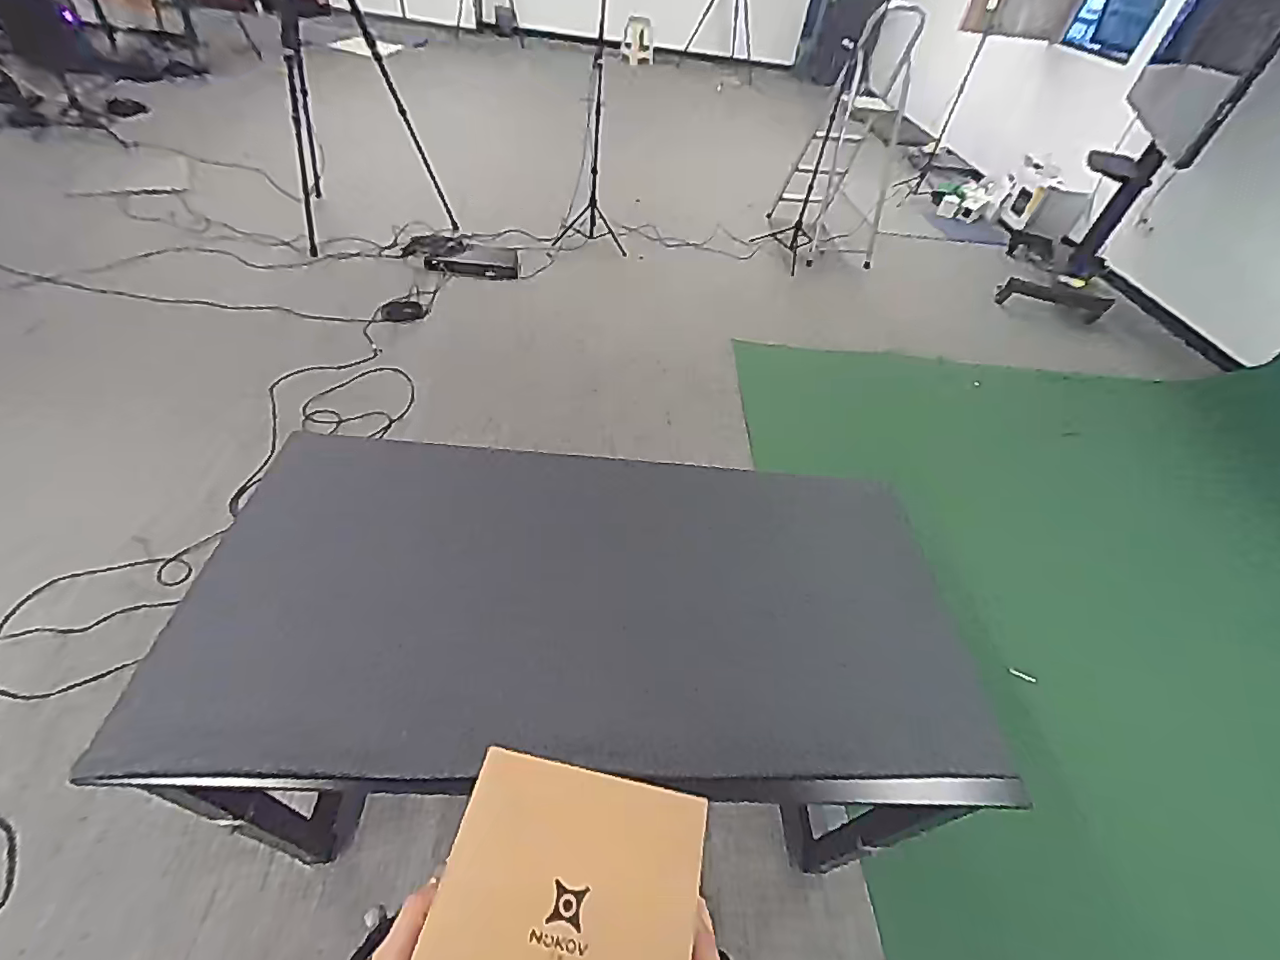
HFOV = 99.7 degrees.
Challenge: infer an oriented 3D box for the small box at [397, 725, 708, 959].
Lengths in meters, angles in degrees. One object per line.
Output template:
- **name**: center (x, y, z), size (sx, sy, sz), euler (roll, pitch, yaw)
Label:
- **small box**: center (-0.054, 0.311, 0.388), size (0.168, 0.176, 0.179), euler (11, 47, 6)
